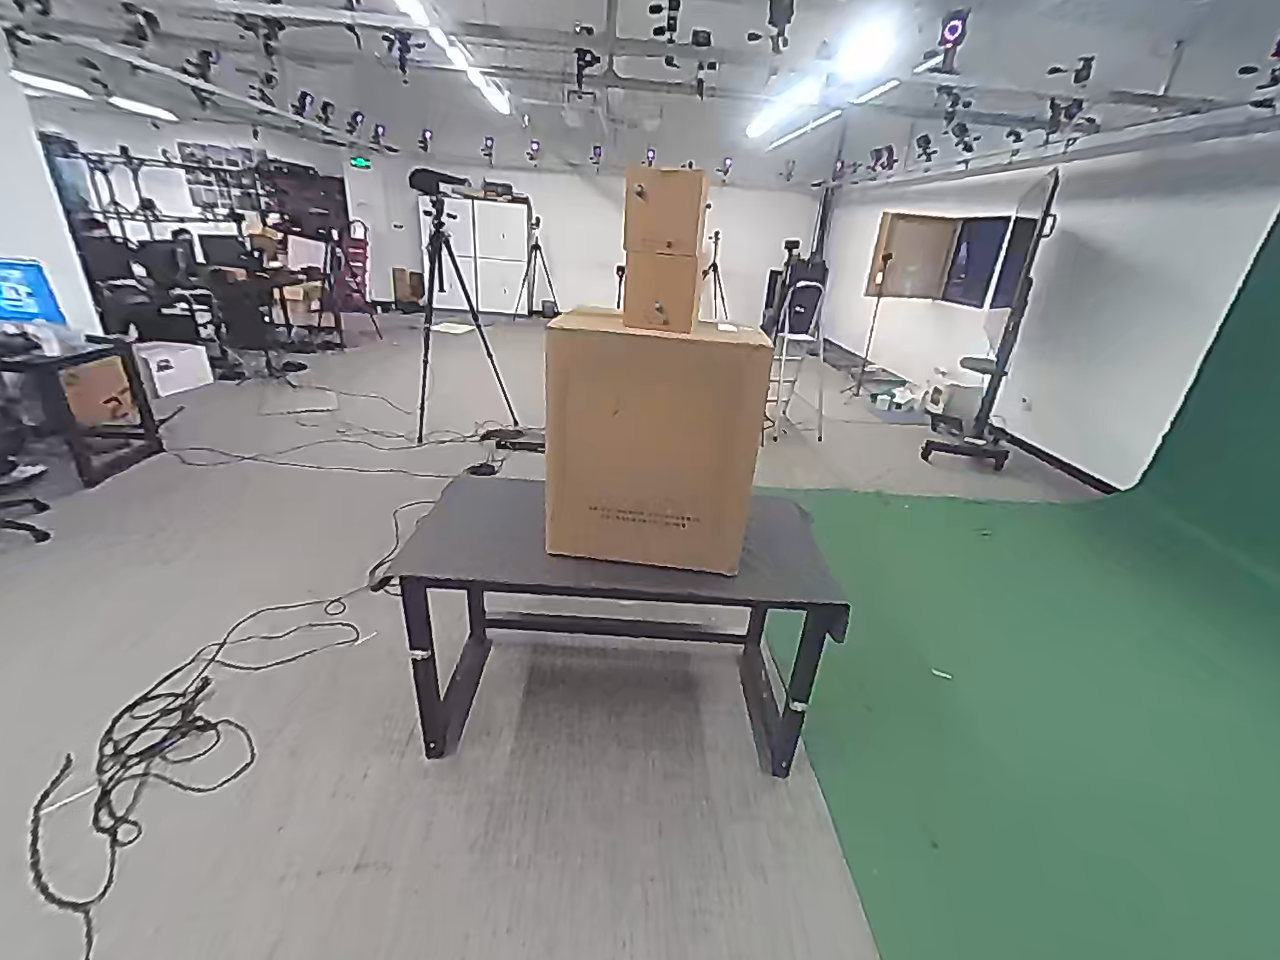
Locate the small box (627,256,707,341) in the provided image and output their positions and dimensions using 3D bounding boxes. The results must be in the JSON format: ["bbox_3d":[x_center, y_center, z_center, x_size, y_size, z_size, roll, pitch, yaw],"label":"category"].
[{"bbox_3d":[0.067,-0.447,1.323,0.168,0.176,0.179,9,27,8],"label":"small box"}]
